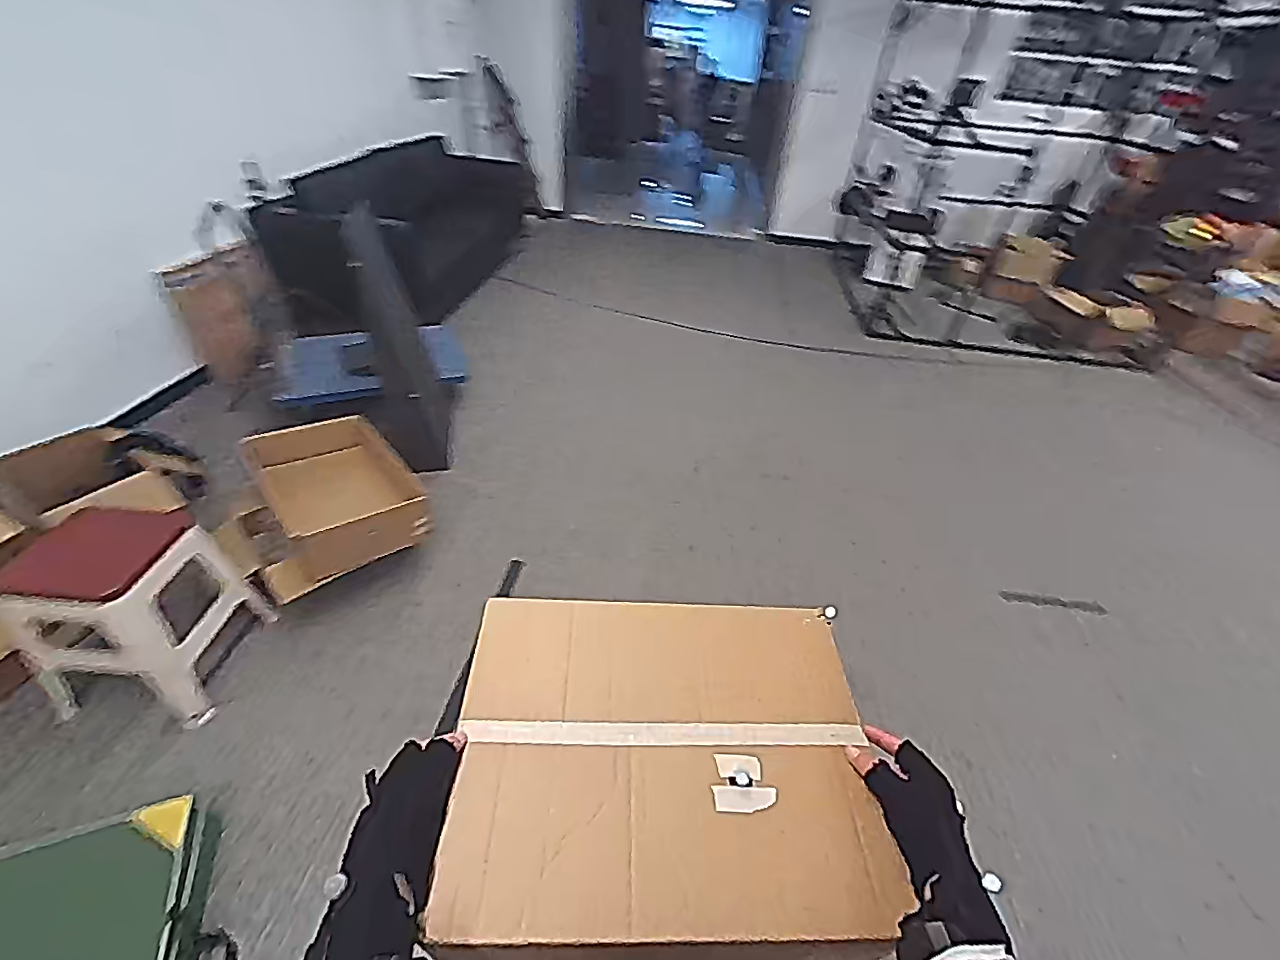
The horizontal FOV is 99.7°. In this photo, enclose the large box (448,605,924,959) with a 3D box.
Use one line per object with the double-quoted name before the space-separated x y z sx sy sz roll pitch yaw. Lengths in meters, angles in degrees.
"large box" 0.029 0.373 0.647 0.408 0.320 0.320 4 42 -3
